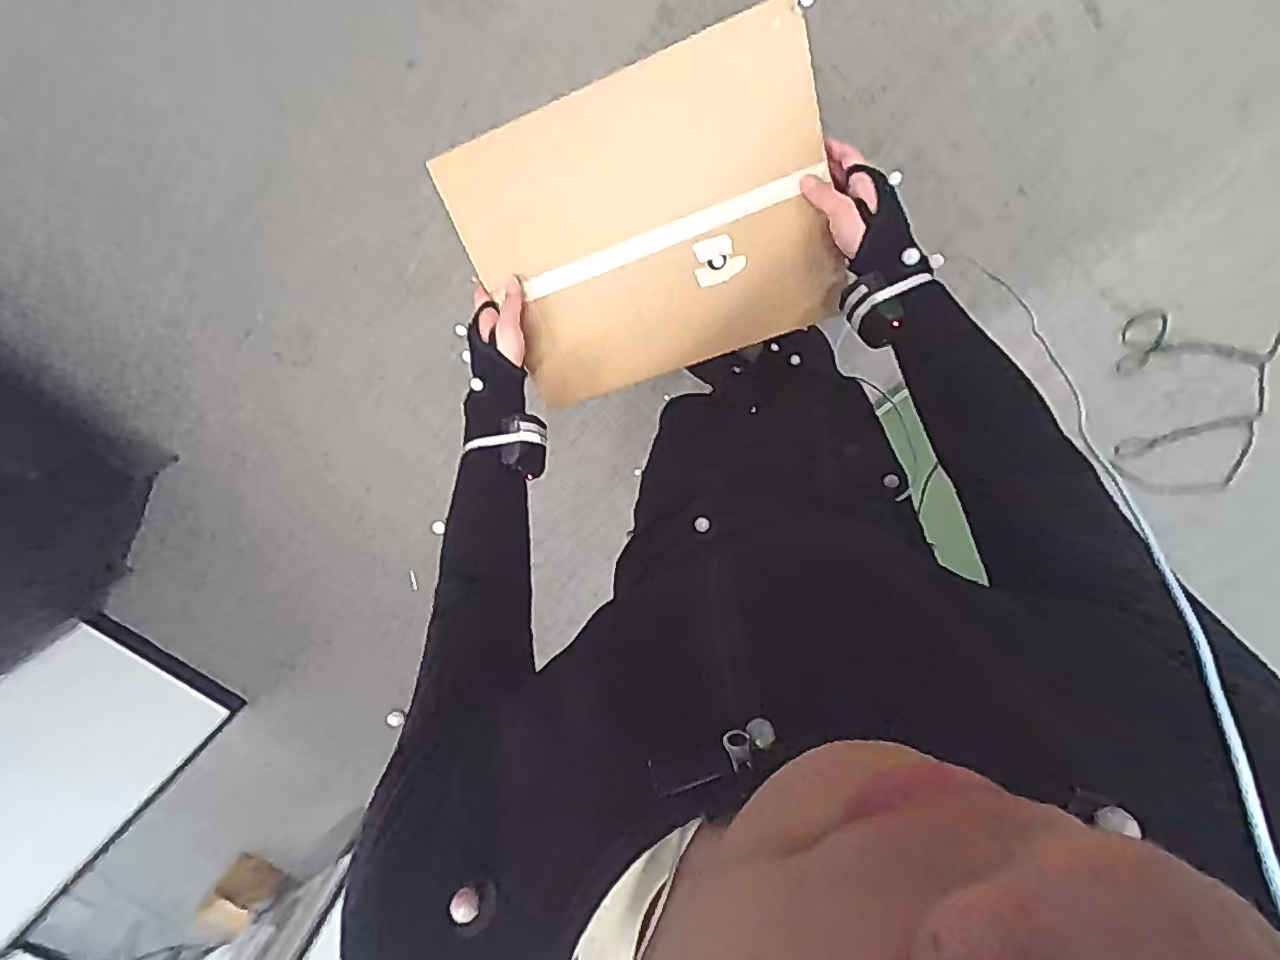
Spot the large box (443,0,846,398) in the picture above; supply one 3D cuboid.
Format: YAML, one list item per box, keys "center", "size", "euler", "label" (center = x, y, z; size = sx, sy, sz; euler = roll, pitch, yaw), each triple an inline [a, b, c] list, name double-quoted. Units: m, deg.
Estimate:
- center: [0.019, -0.363, 0.753]
  size: [0.408, 0.320, 0.320]
  euler: [-16, 120, 11]
  label: "large box"
